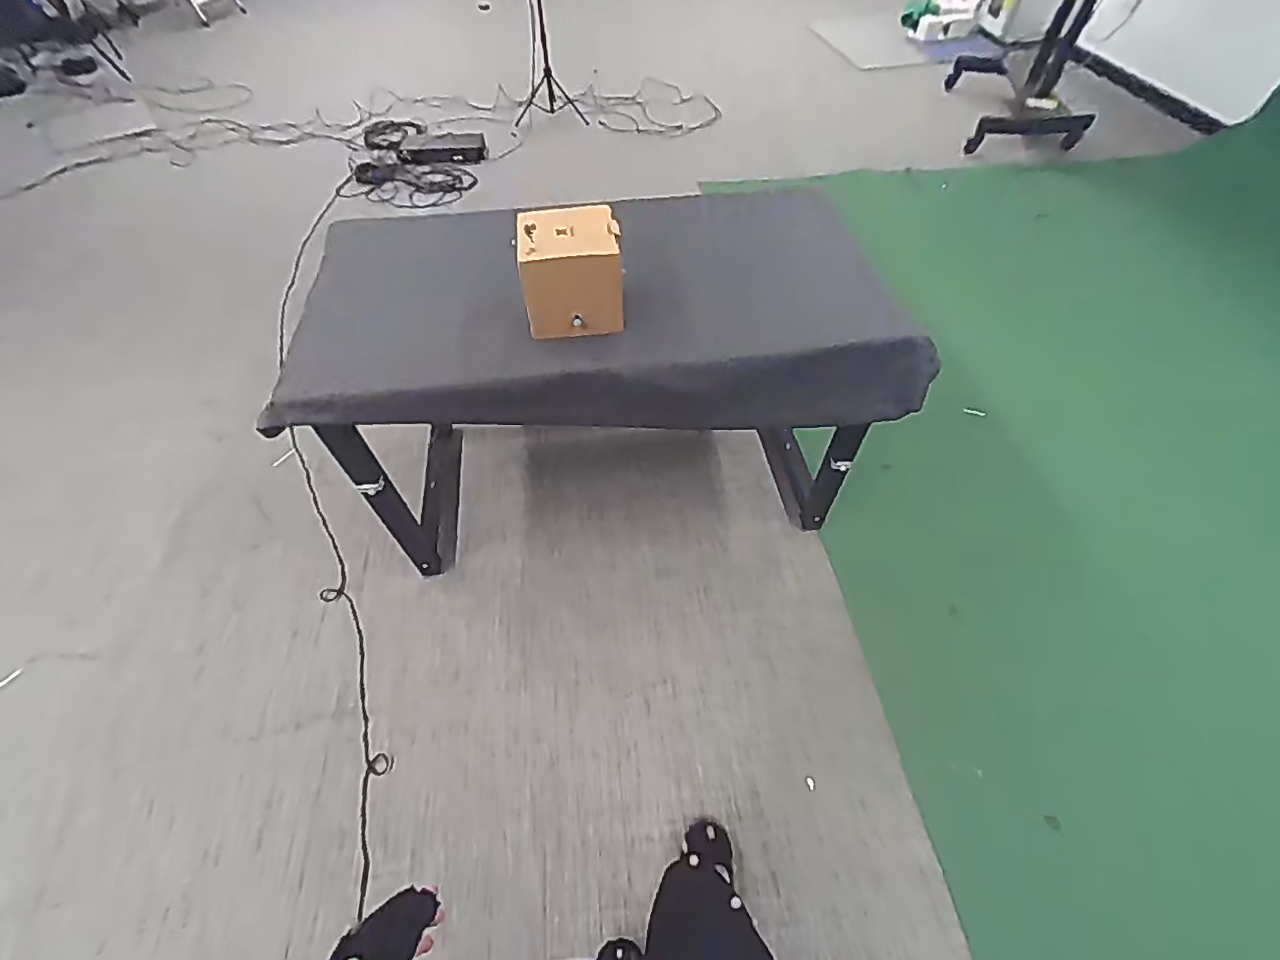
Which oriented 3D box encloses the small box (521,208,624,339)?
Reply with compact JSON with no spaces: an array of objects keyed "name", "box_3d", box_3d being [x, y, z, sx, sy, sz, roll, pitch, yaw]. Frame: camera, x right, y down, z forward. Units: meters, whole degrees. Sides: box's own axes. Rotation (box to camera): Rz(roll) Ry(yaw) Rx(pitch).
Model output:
[{"name":"small box","box_3d":[-0.122,-0.388,1.024,0.179,0.176,0.168,-6,53,-3]}]
